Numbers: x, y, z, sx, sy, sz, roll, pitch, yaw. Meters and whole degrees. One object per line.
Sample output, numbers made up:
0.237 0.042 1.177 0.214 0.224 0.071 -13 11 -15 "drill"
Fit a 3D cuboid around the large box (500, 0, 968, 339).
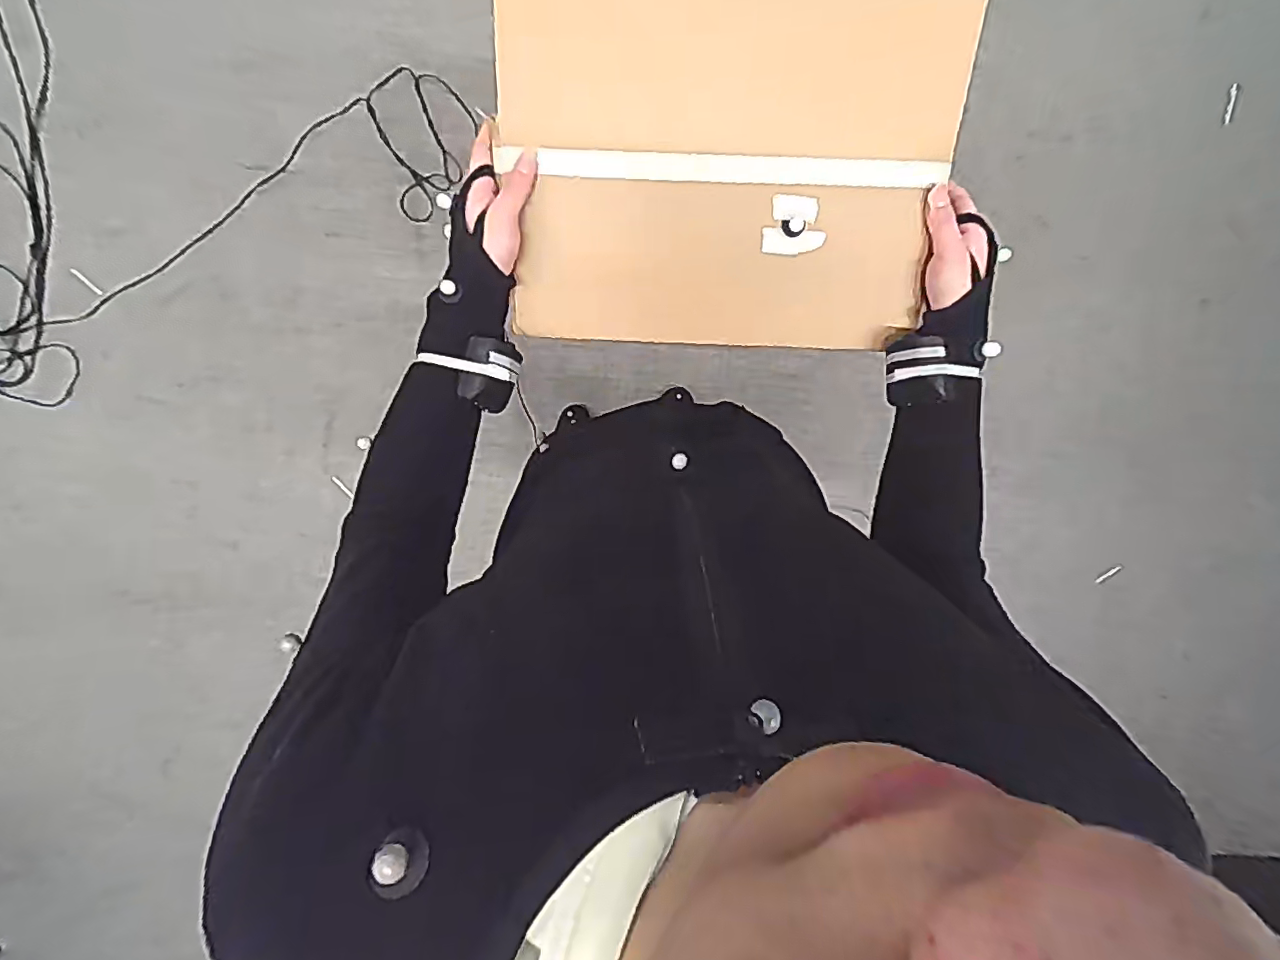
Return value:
0.075 -0.346 0.639 0.408 0.320 0.320 2 113 -1 "large box"
